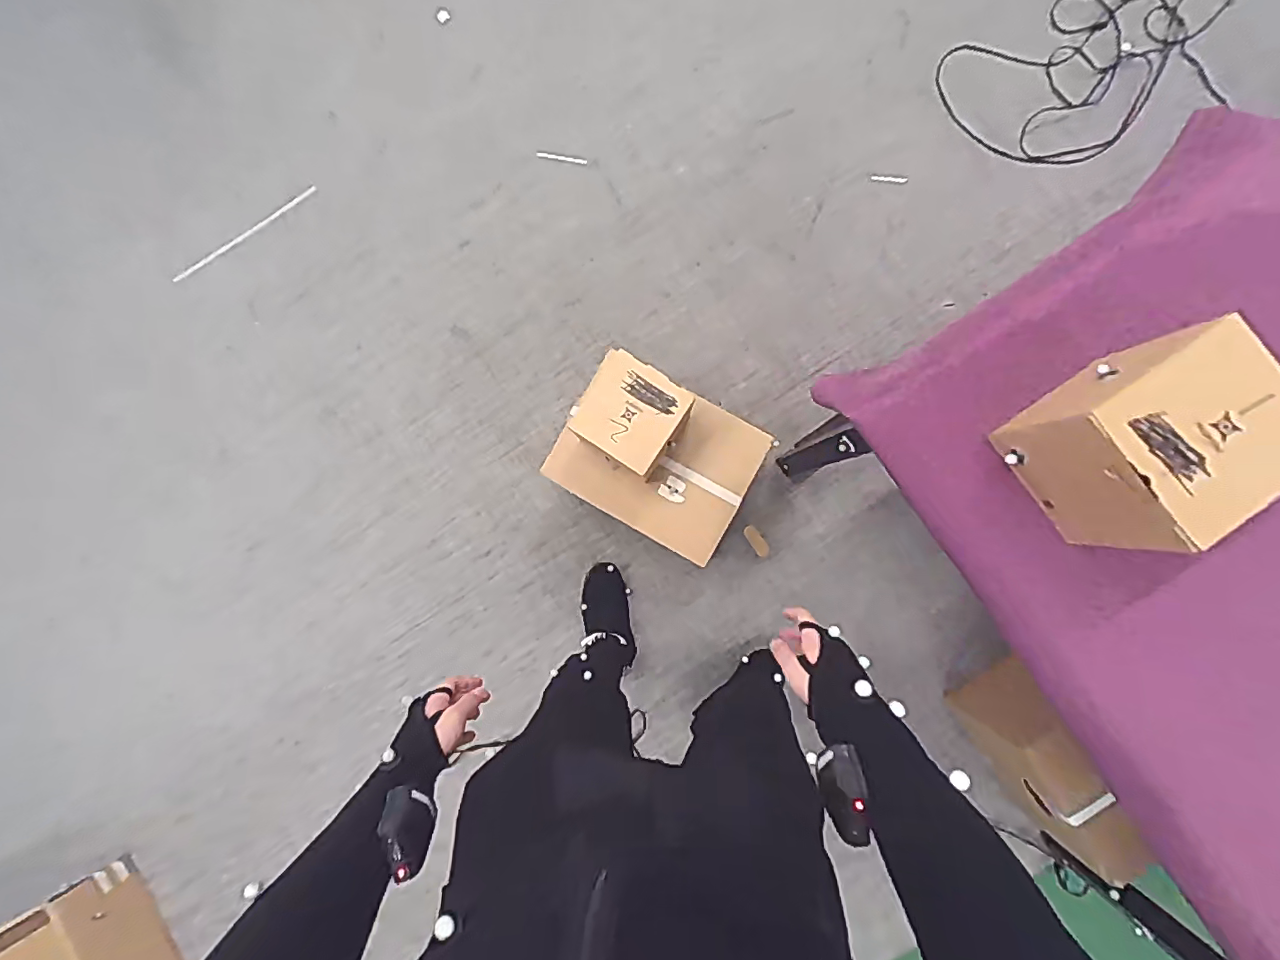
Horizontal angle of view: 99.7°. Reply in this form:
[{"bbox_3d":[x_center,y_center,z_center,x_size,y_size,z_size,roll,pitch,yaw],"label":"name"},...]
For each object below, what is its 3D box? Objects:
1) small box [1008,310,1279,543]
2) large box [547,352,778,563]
[{"bbox_3d":[0.554,-0.046,0.596,0.179,0.176,0.168,-35,86,-1],"label":"small box"},{"bbox_3d":[0.048,-0.042,1.284,0.408,0.320,0.320,29,89,3],"label":"large box"}]
